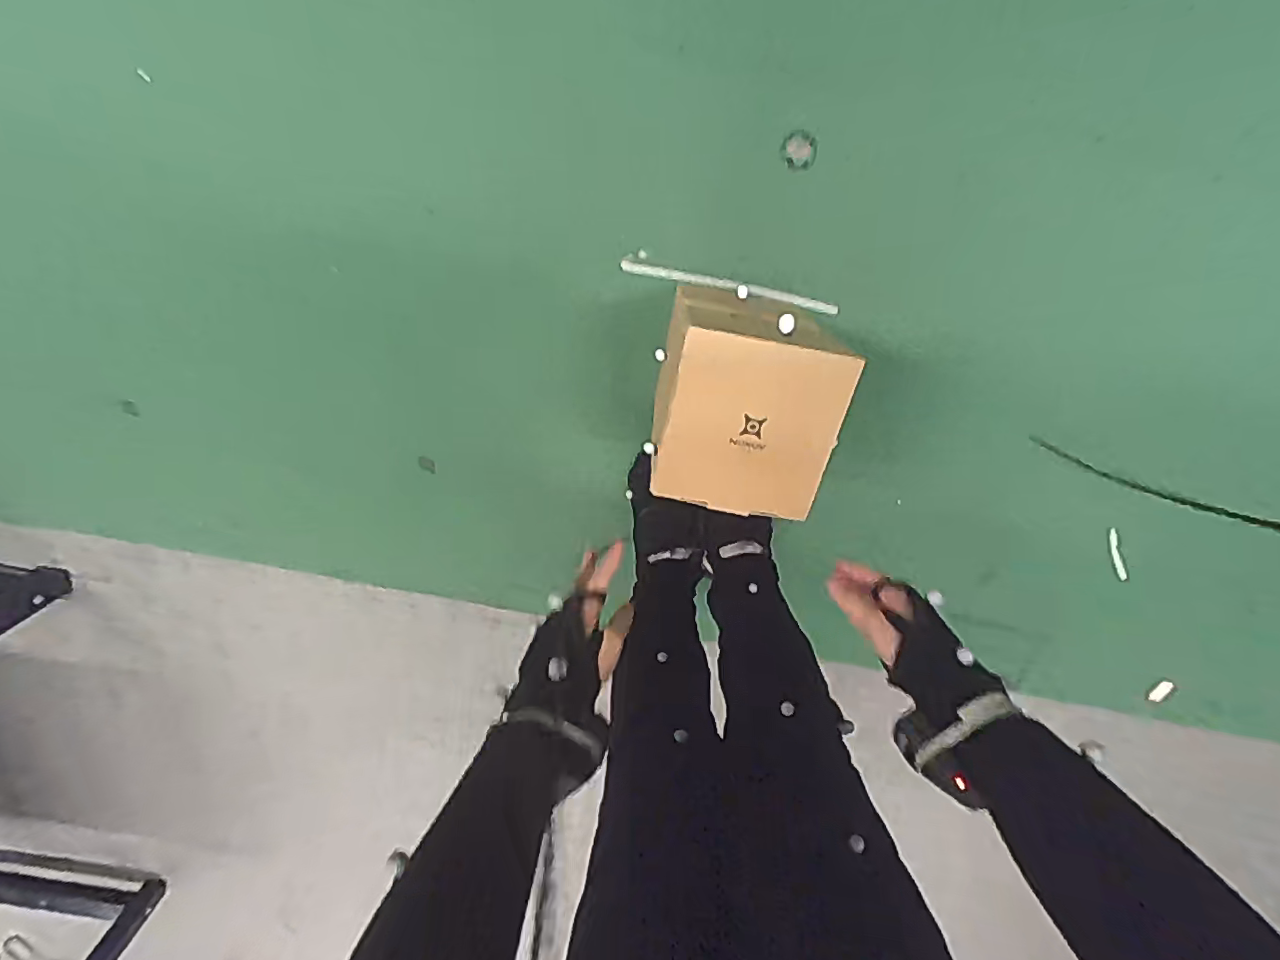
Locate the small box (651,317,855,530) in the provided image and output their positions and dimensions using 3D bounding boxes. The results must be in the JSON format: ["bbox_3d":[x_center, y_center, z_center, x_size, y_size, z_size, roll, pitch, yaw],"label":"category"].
[{"bbox_3d":[0.106,-0.072,0.597,0.168,0.176,0.179,9,116,-2],"label":"small box"}]
